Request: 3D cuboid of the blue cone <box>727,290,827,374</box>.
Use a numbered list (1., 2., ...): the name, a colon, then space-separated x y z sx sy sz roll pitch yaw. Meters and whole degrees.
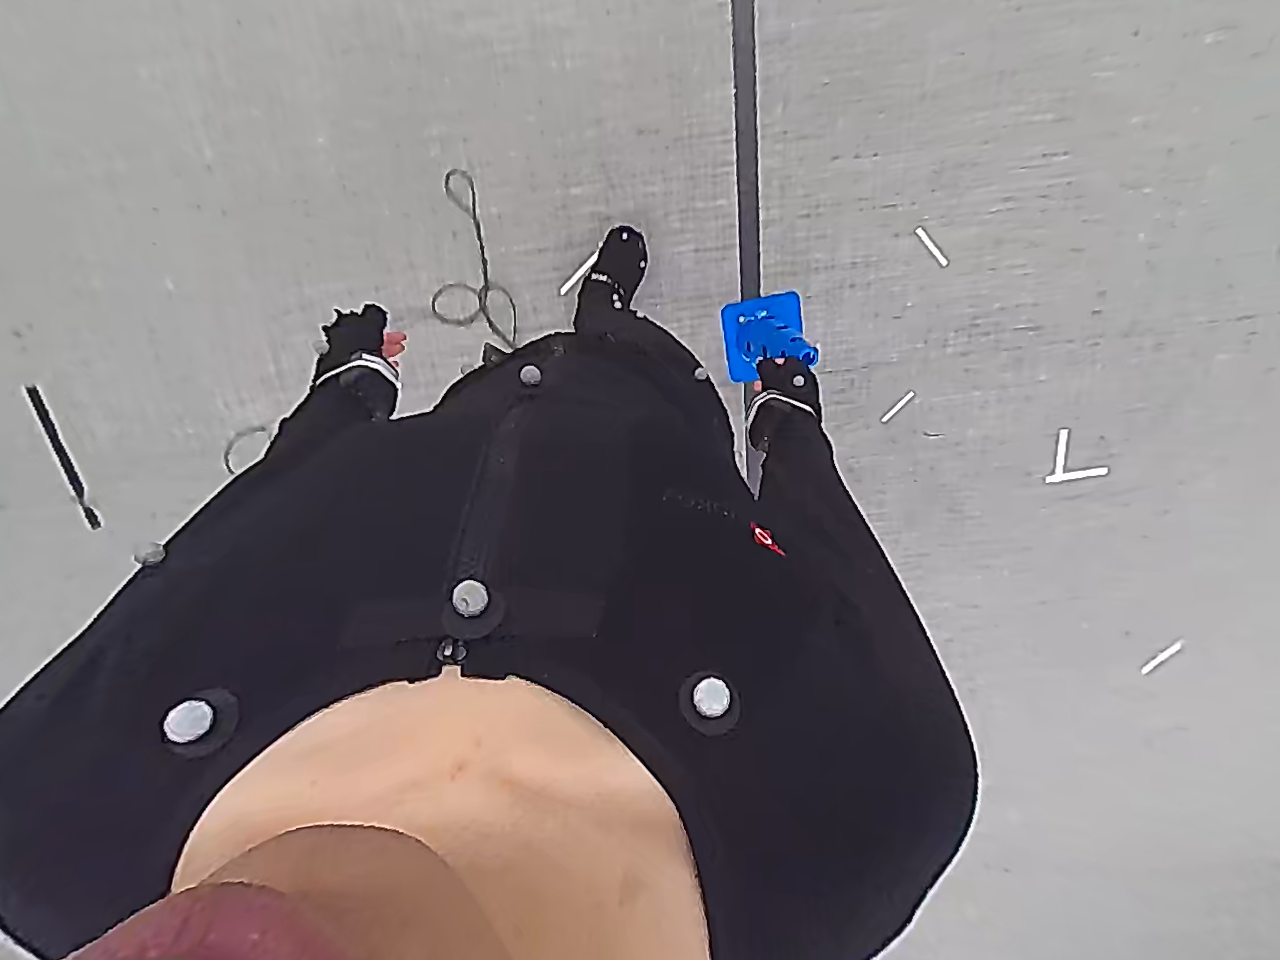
1. blue cone: 0.328 -0.315 1.221 0.192 0.380 0.193 -10 111 1
